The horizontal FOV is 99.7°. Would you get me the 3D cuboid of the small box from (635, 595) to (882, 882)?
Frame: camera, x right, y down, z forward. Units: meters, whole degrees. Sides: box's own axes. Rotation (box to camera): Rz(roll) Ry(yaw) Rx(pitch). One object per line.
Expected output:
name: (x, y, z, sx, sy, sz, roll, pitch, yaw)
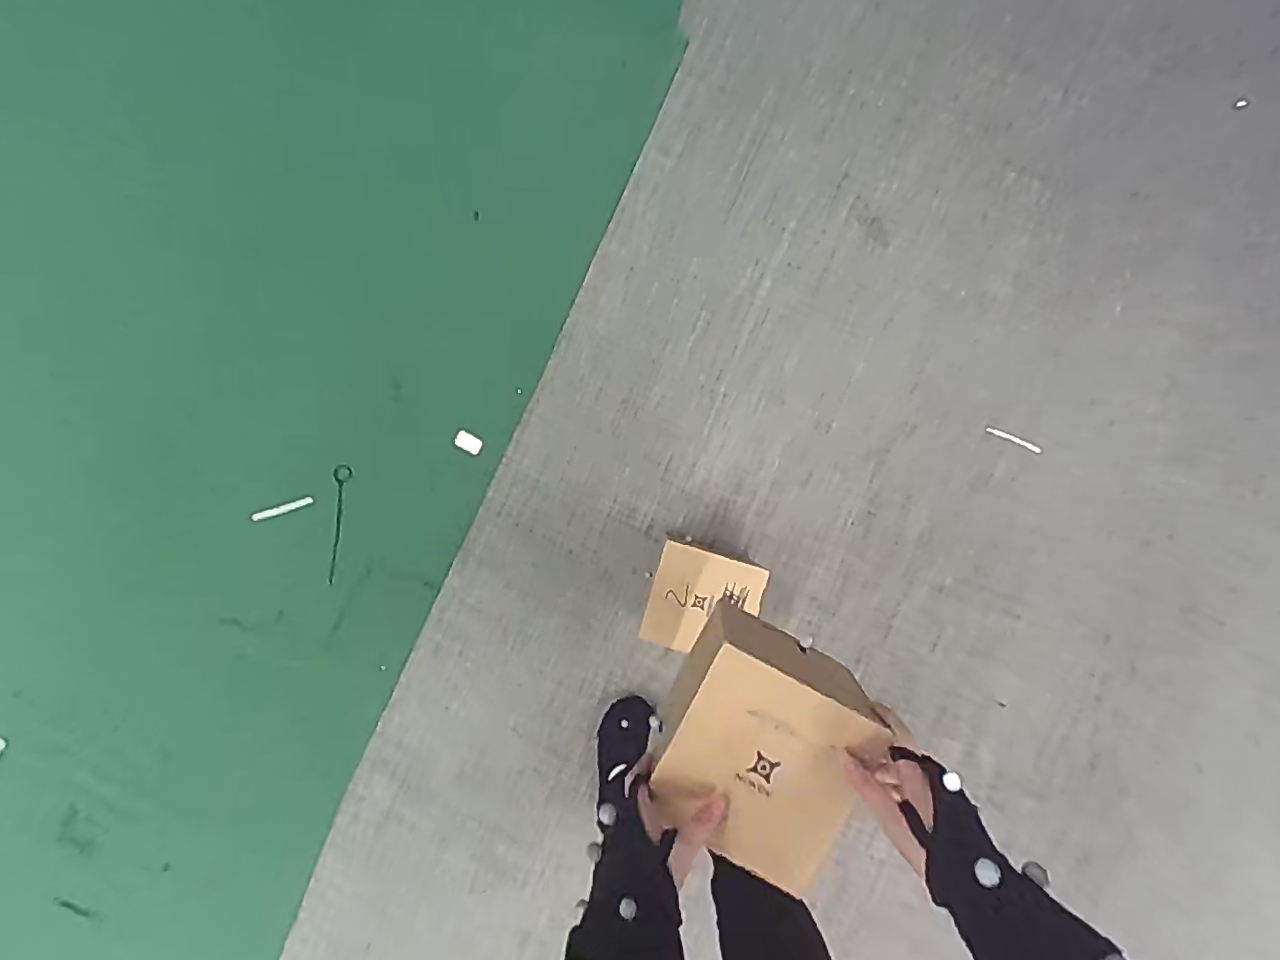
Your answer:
small box: (0.114, 0.248, 0.566, 0.168, 0.176, 0.179, 28, 95, 4)
